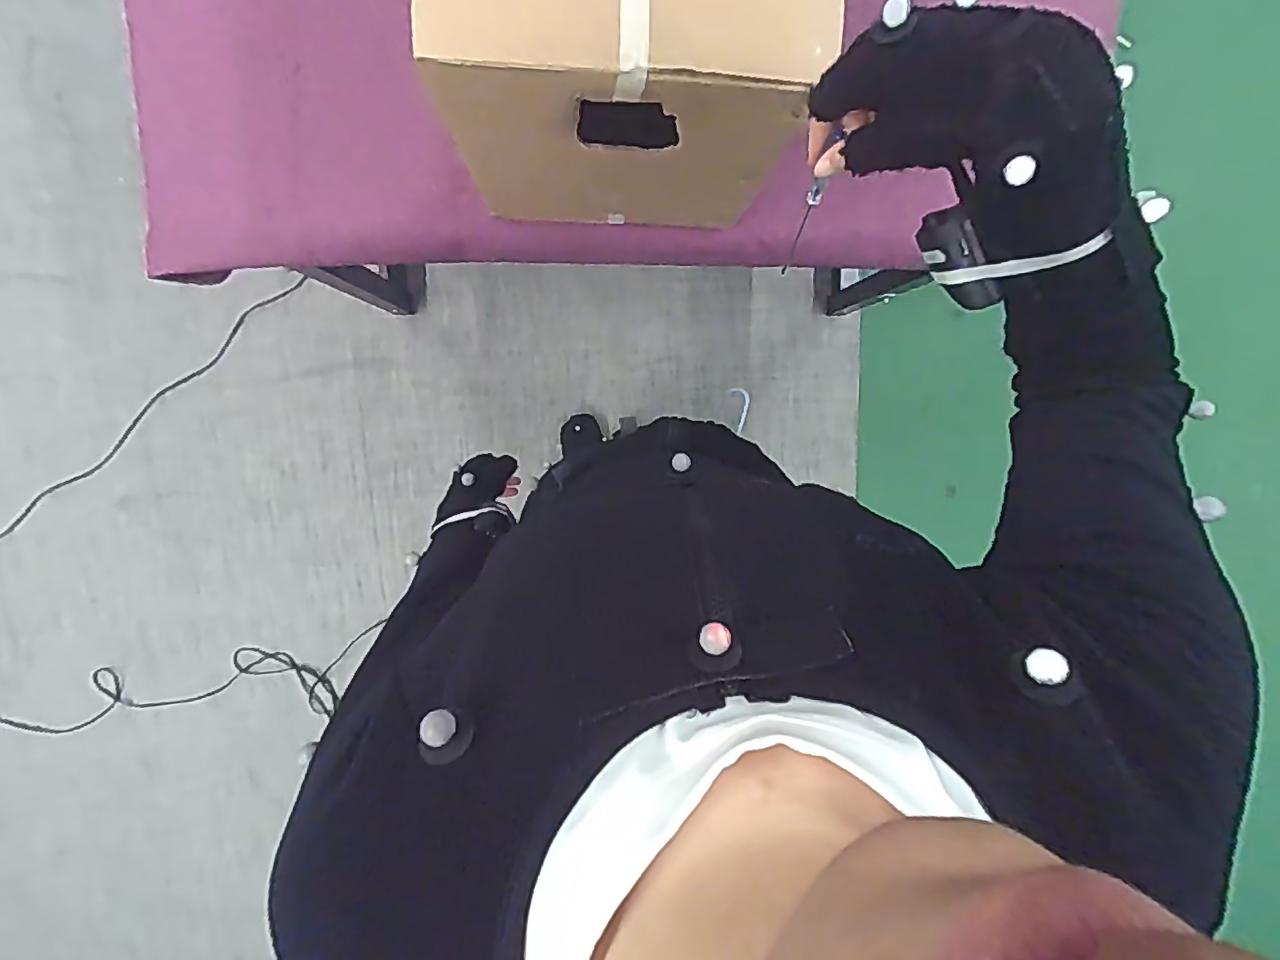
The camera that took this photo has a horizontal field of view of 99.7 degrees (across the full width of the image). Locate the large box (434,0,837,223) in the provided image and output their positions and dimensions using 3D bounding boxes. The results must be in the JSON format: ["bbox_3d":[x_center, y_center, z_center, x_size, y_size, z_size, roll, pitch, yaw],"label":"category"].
[{"bbox_3d":[-0.011,-0.520,0.533,0.320,0.320,0.408,1,98,-5],"label":"large box"}]
